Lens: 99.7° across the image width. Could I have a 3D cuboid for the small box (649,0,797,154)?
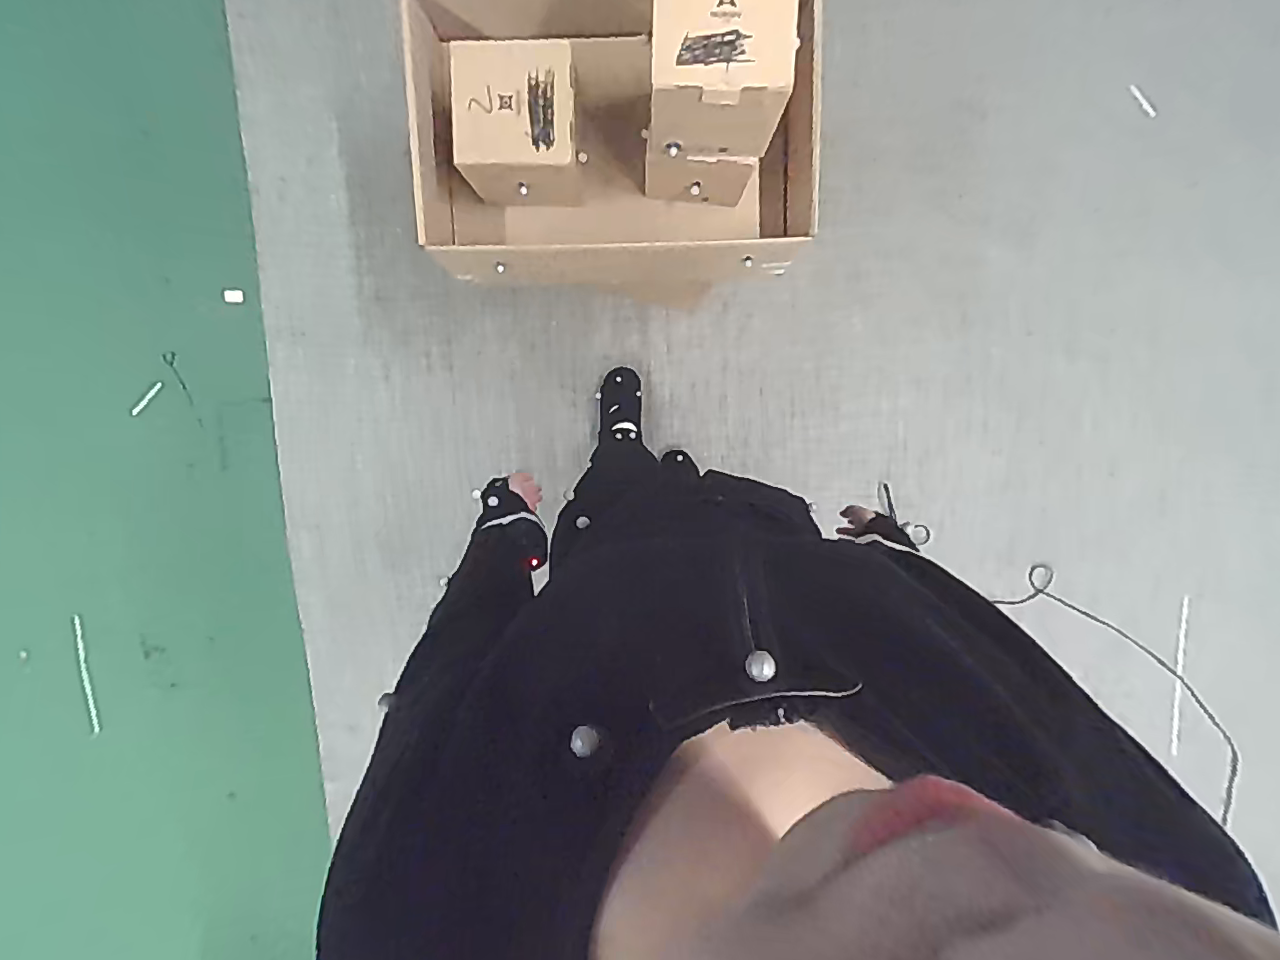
[{"bbox_3d":[0.097,-0.545,0.692,0.168,0.176,0.179,2,96,0],"label":"small box"}]
